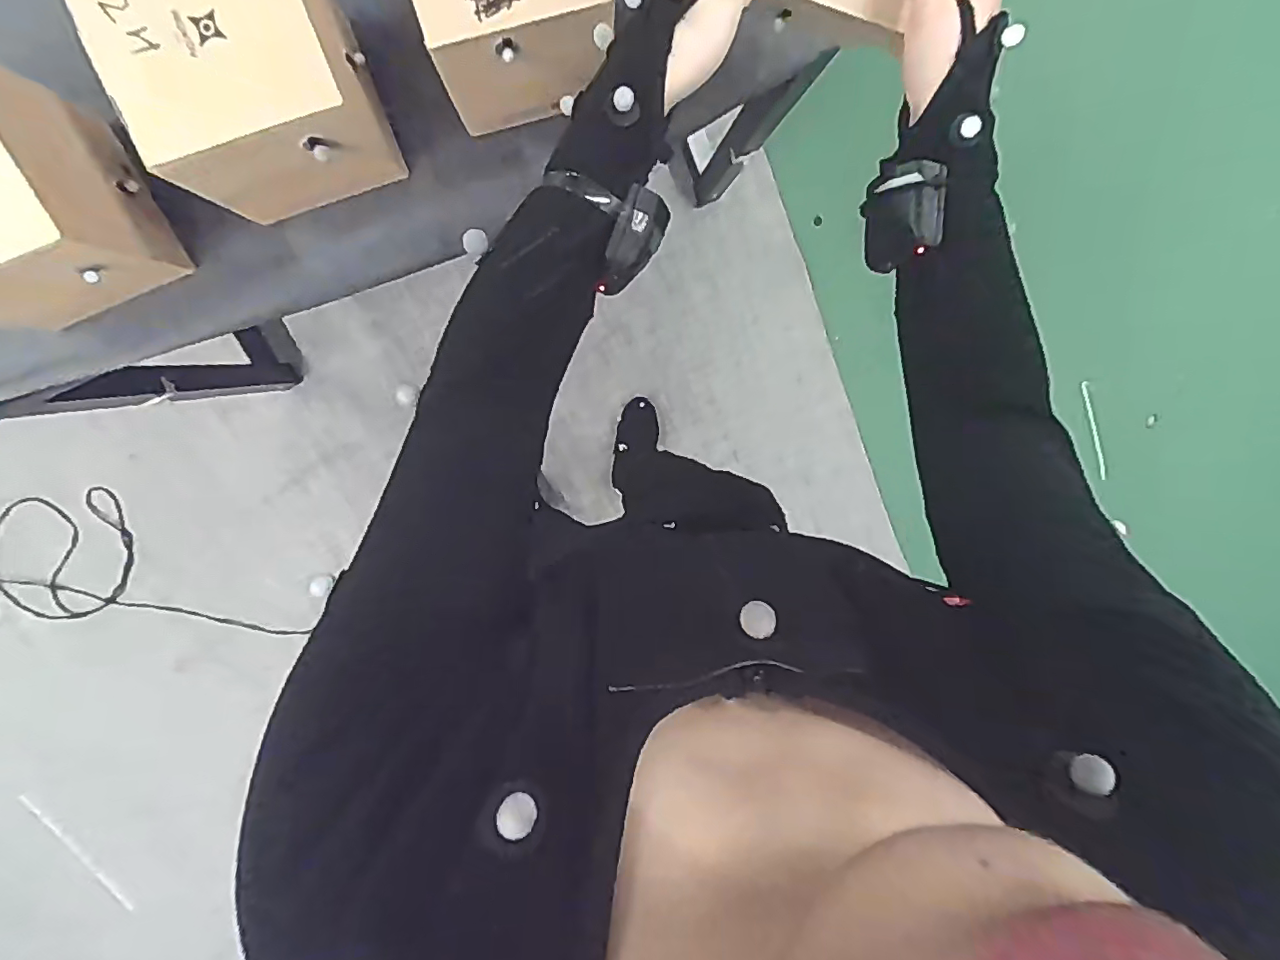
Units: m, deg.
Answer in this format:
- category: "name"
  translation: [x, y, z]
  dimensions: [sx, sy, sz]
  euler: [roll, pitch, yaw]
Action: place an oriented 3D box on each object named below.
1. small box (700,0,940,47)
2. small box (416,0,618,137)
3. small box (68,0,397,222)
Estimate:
- category: "small box"
  translation: [0.145, -0.456, 0.410]
  dimensions: [0.179, 0.176, 0.168]
  euler: [9, 126, -10]
- category: "small box"
  translation: [-0.125, -0.473, 0.515]
  dimensions: [0.168, 0.176, 0.179]
  euler: [-16, 100, -2]
- category: "small box"
  translation: [-0.358, -0.373, 0.514]
  dimensions: [0.179, 0.176, 0.168]
  euler: [-19, 101, -1]
